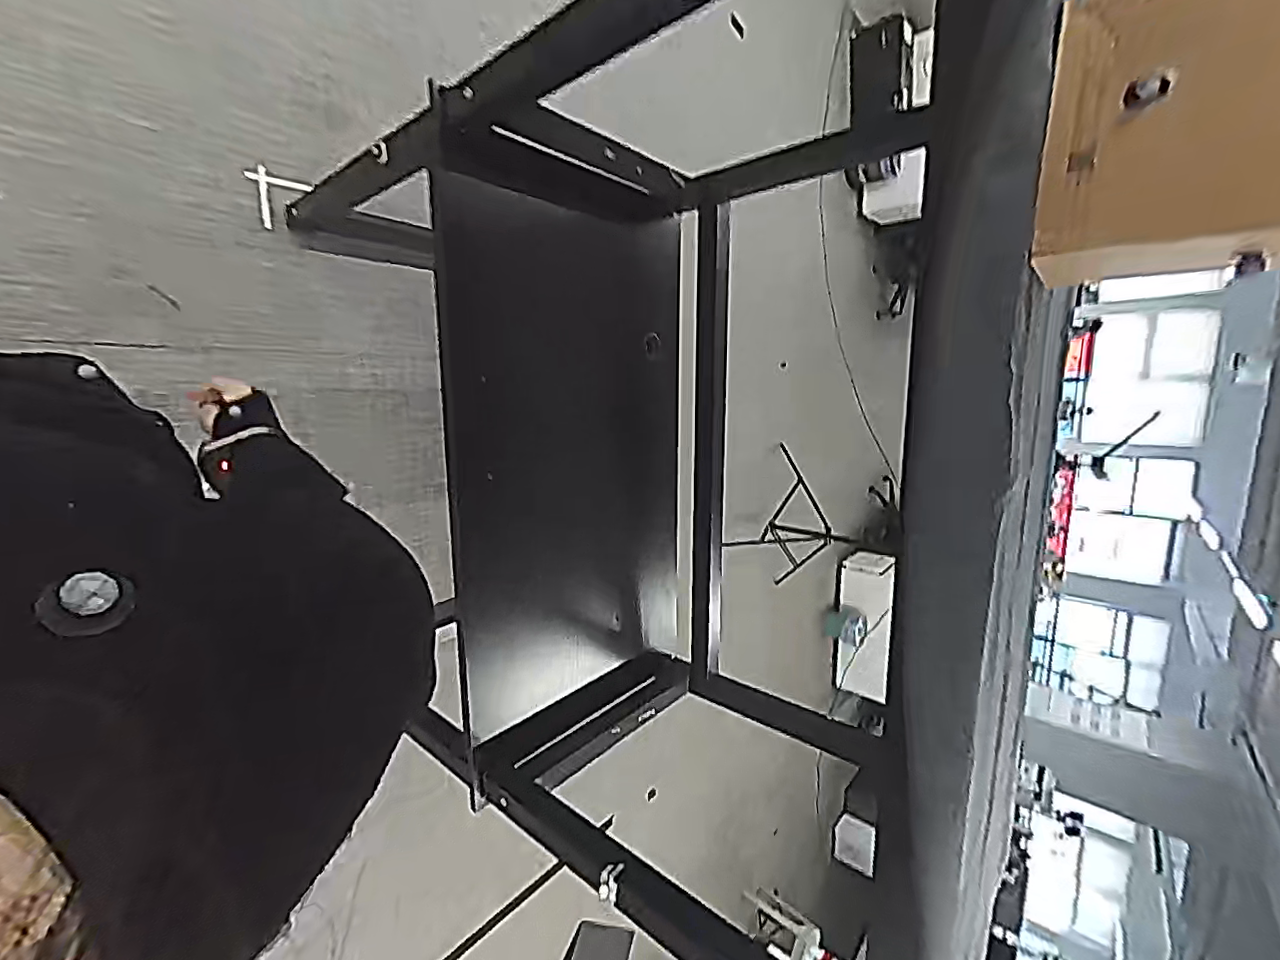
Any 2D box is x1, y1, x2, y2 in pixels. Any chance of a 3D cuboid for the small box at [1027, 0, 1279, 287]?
[{"bbox_3d":[0.412,-0.246,0.408,0.179,0.176,0.168,-13,107,-49],"label":"small box"}]
